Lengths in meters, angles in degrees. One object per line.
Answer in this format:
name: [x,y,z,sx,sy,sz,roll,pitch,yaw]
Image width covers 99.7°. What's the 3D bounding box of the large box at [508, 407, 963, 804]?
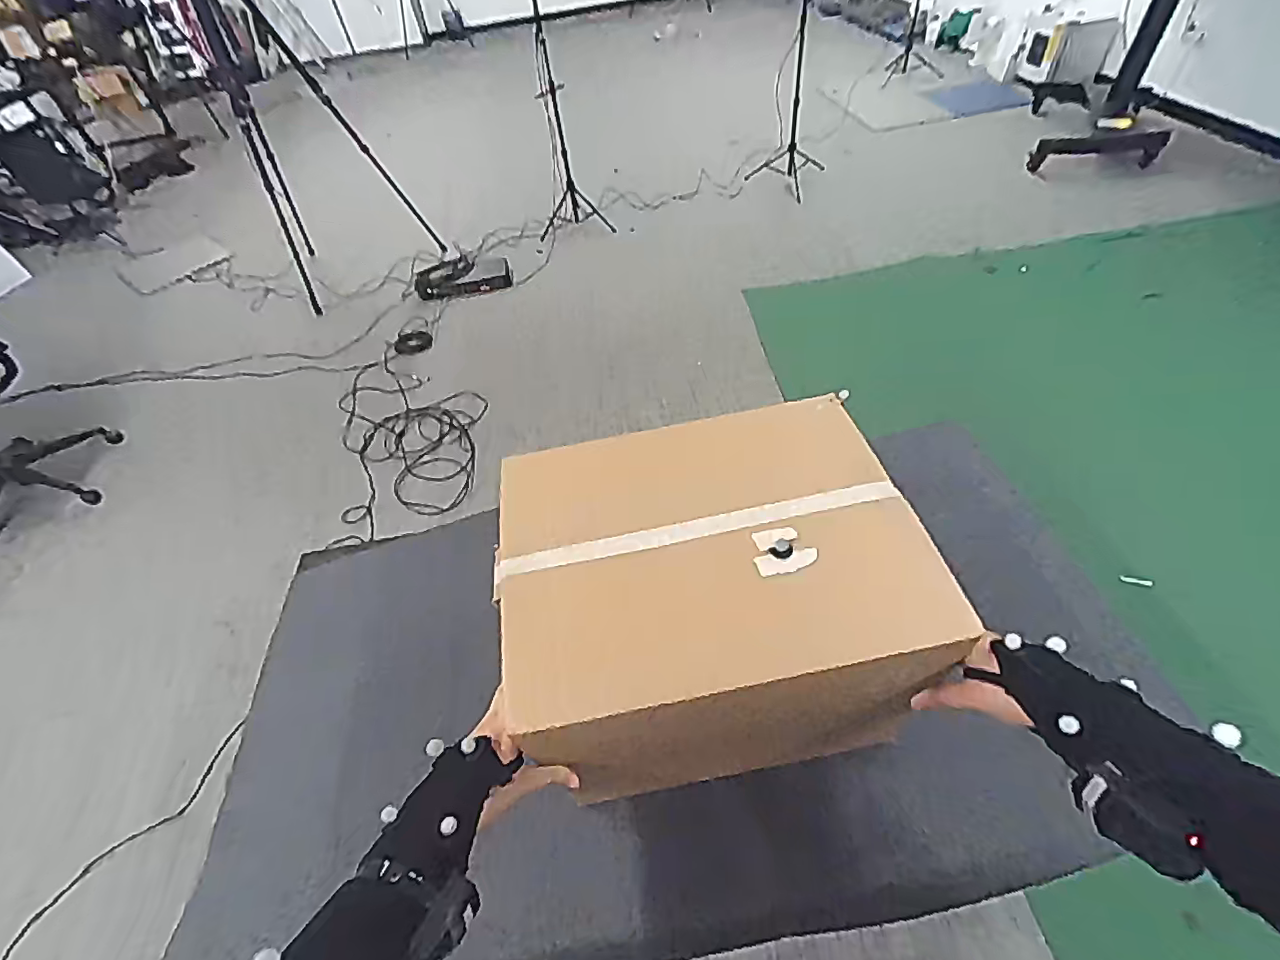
large box: [0.076,0.157,0.667,0.408,0.320,0.320,-11,50,-2]
